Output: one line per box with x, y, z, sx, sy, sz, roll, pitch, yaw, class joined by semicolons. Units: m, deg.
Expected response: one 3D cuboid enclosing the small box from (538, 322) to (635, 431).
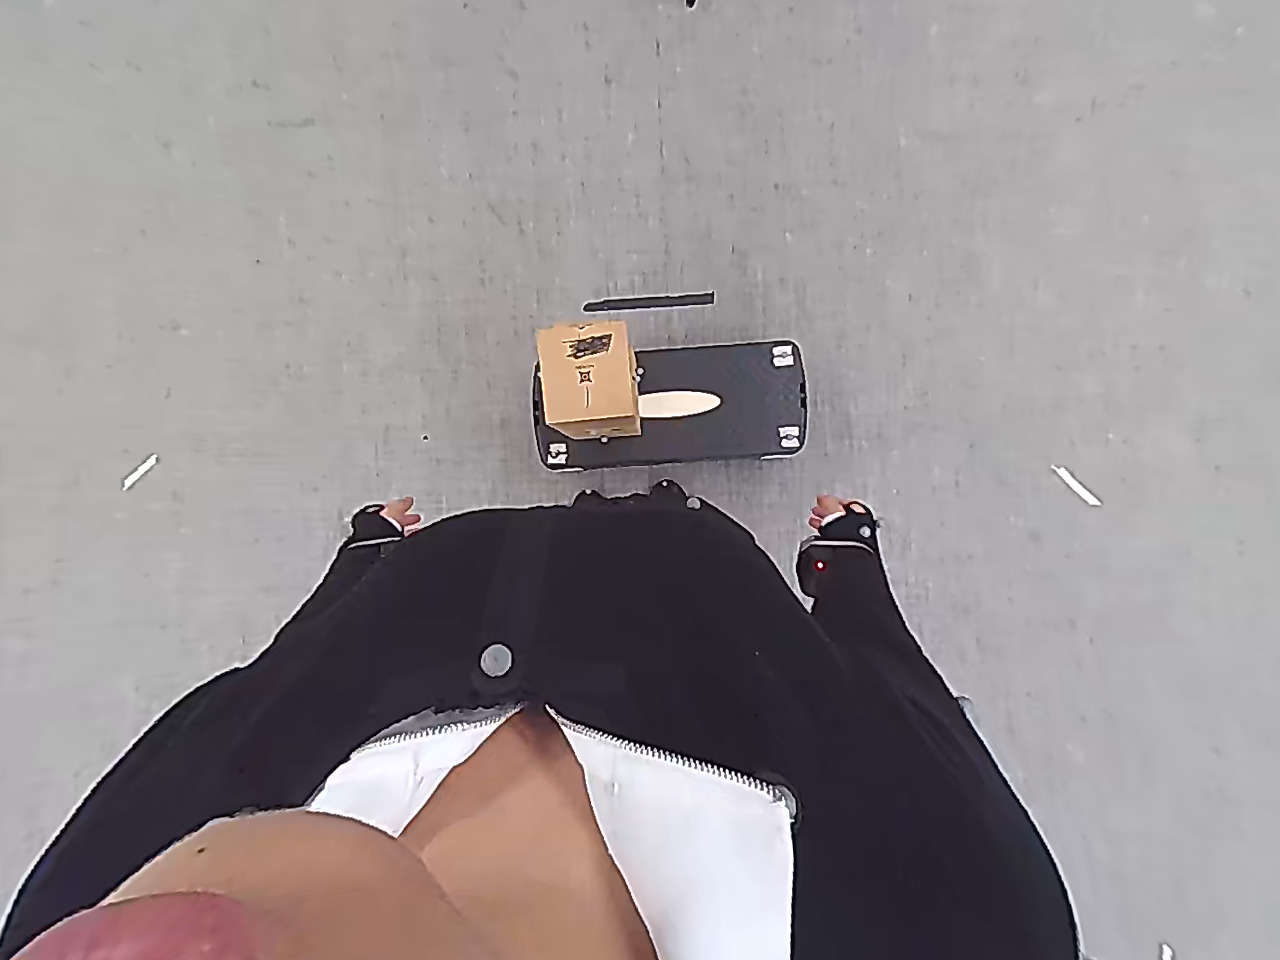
-0.099;-0.195;1.059;0.168;0.176;0.179;-5;90;2;small box

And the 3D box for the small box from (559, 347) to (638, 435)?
-0.092;-0.190;1.223;0.168;0.176;0.179;-4;90;2;small box
